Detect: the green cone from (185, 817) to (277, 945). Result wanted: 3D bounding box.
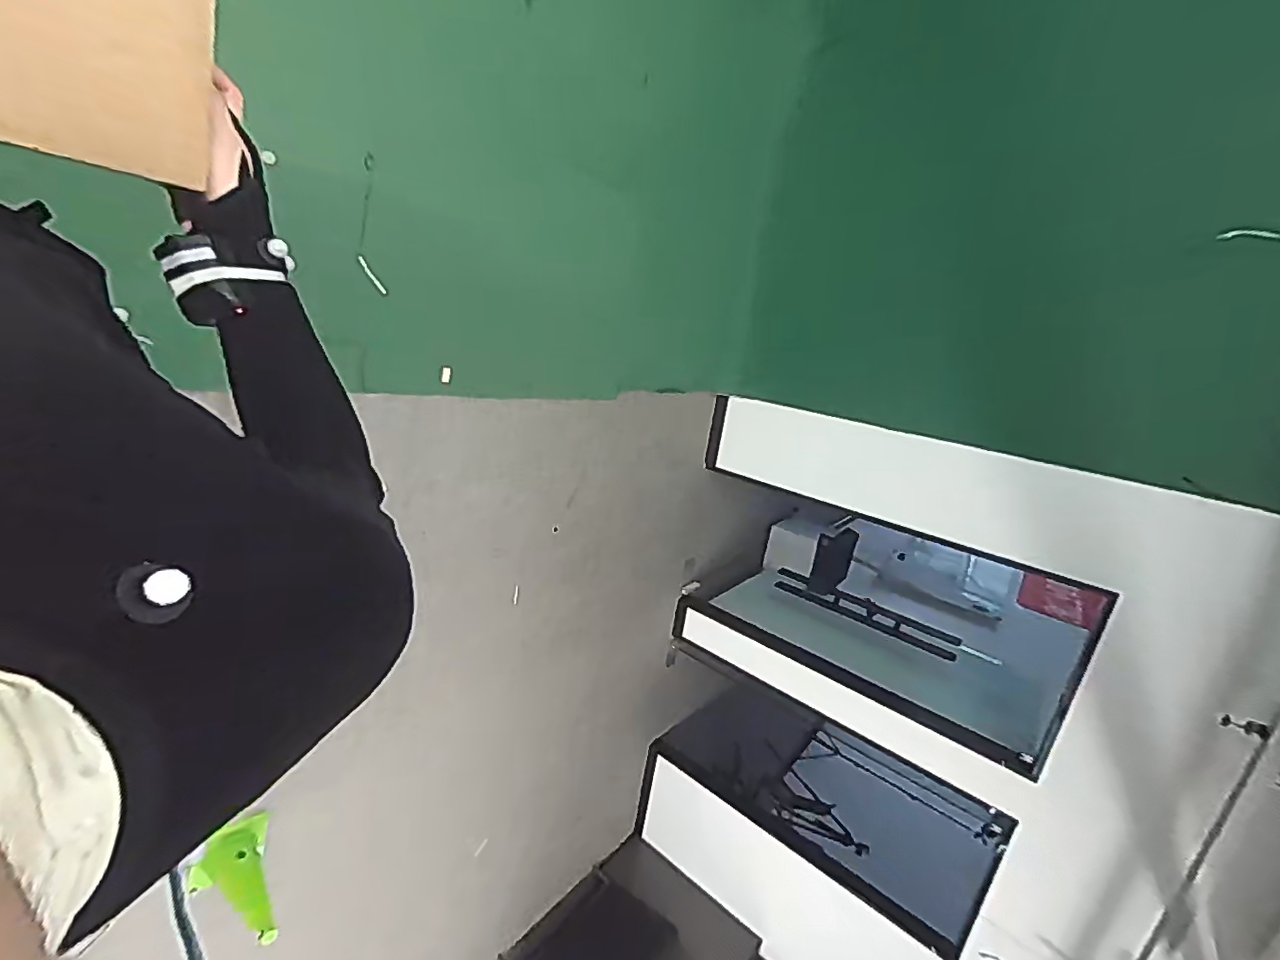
[{"bbox_3d":[-1.173,1.236,1.611,0.200,0.368,0.202,-1,106,-54],"label":"green cone"}]
